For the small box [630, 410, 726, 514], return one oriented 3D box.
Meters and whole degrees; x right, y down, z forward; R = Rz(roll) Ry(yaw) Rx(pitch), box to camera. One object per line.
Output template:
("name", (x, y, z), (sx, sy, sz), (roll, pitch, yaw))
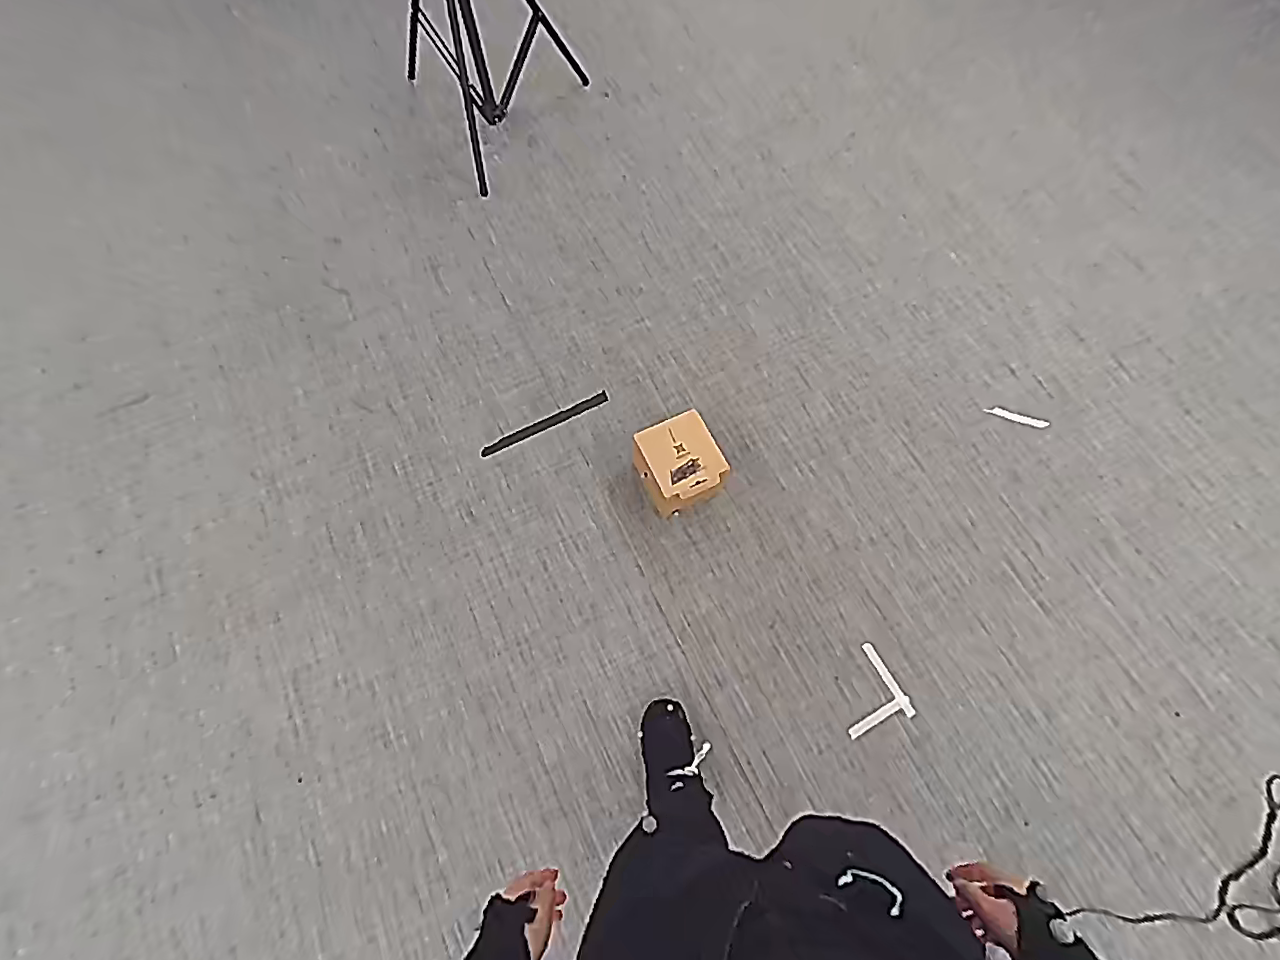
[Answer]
("small box", (0.086, -0.032, 1.296), (0.168, 0.176, 0.179), (-24, 72, -9))
